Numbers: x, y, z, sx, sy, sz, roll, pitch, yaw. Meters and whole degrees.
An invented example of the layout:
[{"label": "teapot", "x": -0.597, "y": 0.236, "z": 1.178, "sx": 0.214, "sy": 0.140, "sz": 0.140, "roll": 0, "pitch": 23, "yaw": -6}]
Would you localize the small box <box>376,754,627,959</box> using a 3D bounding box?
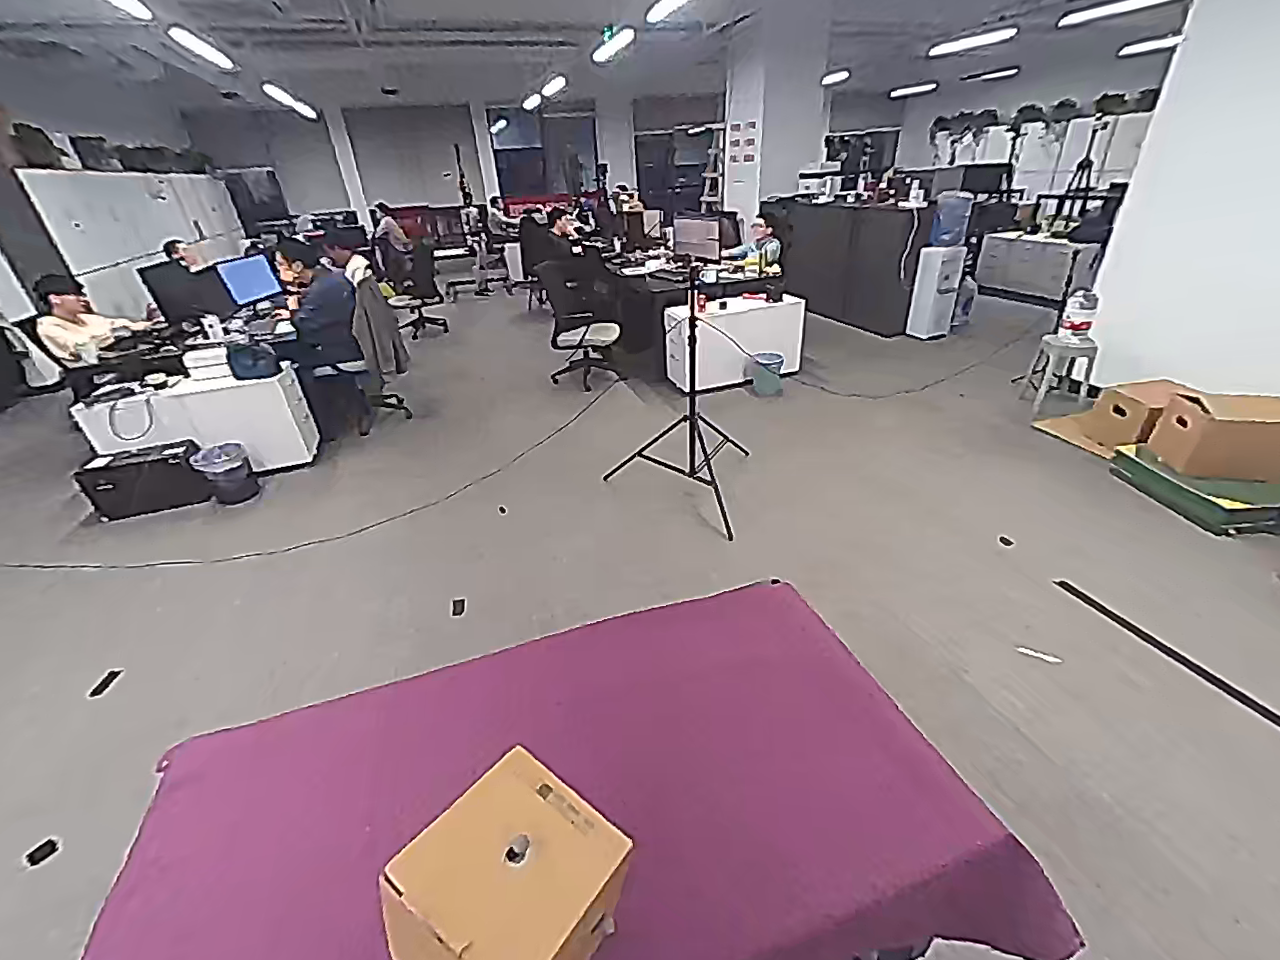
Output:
[{"label": "small box", "x": -0.131, "y": 0.418, "z": 0.533, "sx": 0.168, "sy": 0.179, "sz": 0.176, "roll": 27, "pitch": 32, "yaw": 27}]
